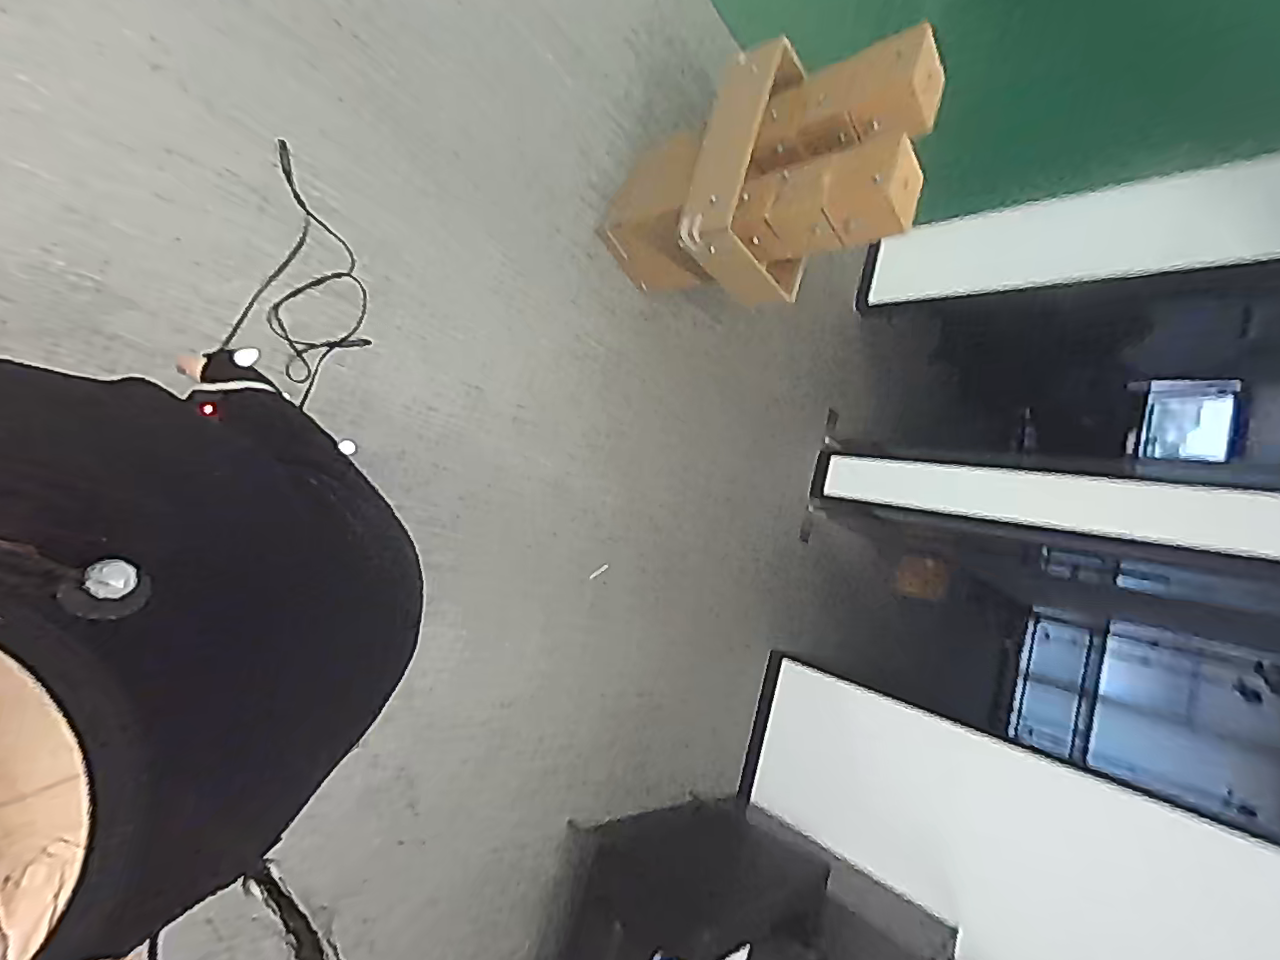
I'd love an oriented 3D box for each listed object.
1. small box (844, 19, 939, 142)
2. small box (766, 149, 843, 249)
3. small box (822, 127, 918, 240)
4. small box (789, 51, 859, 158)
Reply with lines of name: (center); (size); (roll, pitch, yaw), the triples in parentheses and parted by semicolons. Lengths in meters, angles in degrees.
small box: (0.658, -1.033, 1.419); (0.168, 0.176, 0.179); (28, 78, -44)
small box: (0.476, -0.774, 1.514); (0.179, 0.176, 0.168); (27, 77, -45)
small box: (0.594, -0.758, 1.402); (0.168, 0.176, 0.179); (26, 79, -45)
small box: (0.547, -1.051, 1.538); (0.179, 0.176, 0.168); (24, 80, -45)
